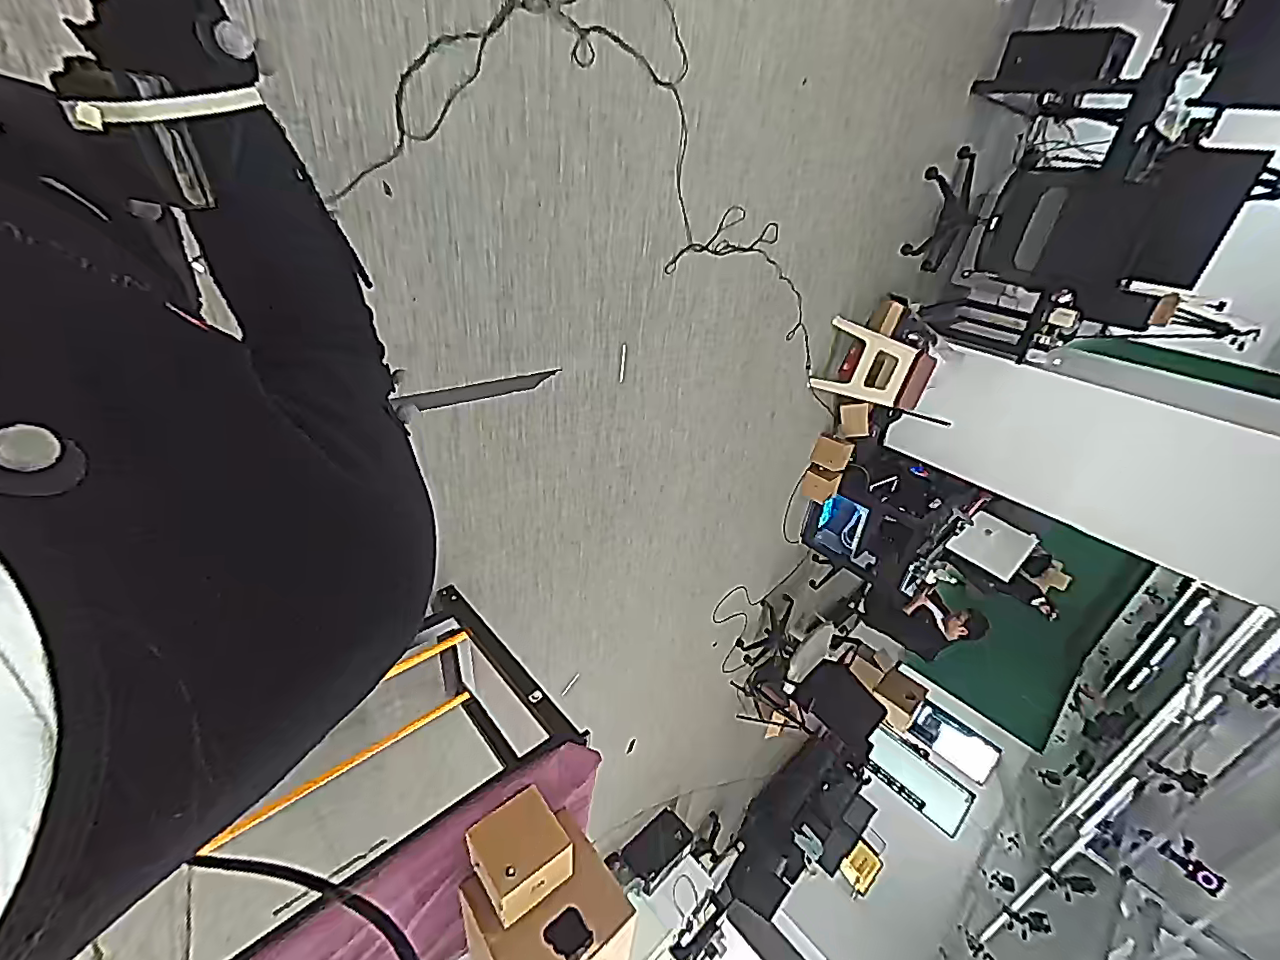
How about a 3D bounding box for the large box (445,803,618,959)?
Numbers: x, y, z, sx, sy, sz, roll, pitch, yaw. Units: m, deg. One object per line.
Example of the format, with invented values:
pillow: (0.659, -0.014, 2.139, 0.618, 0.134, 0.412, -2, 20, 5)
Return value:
large box: (-0.276, 1.147, 1.388, 0.320, 0.320, 0.408, -21, 129, -37)
